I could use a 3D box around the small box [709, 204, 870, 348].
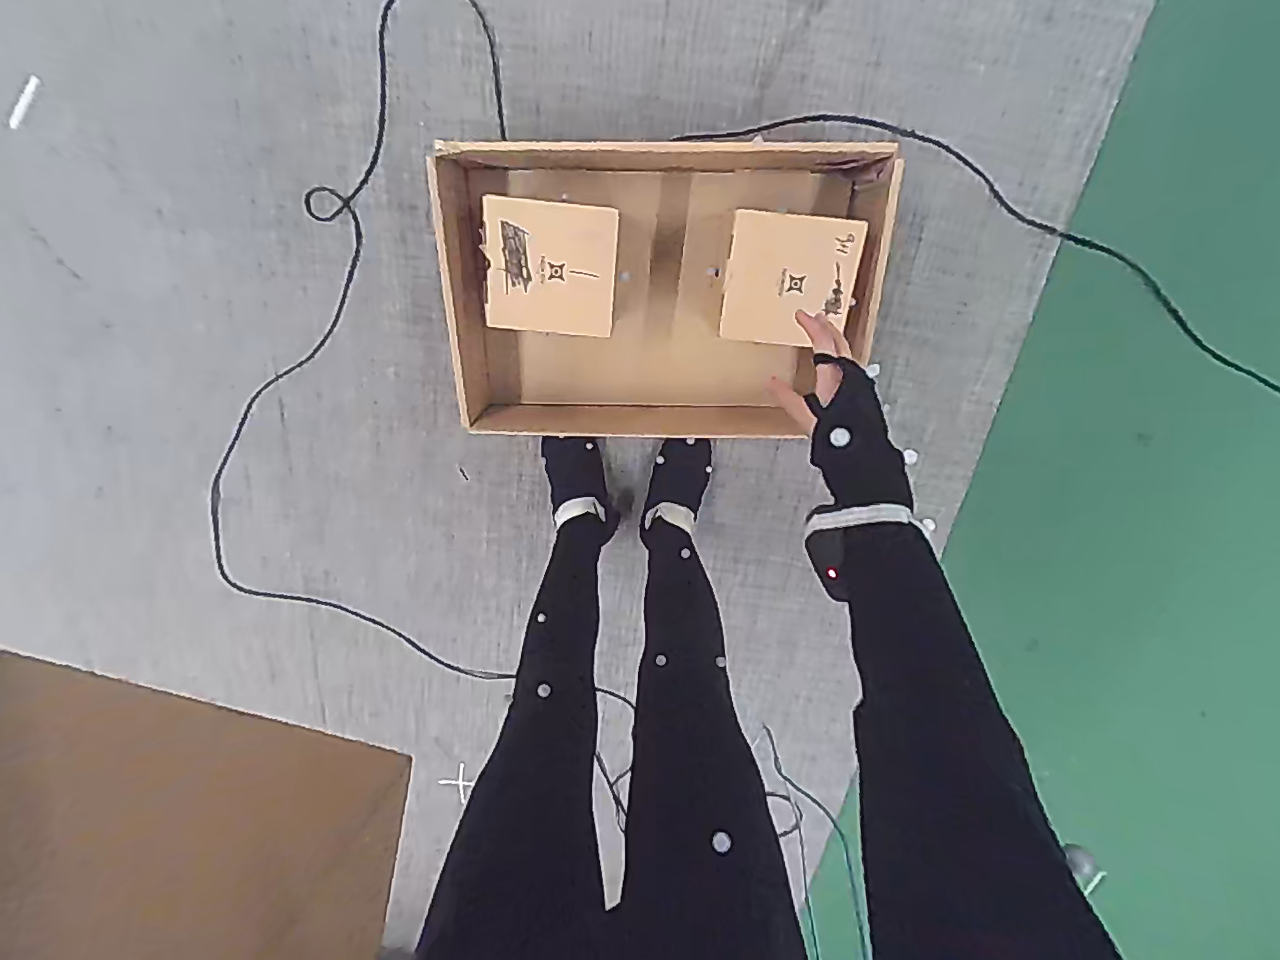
[{"bbox_3d":[0.203,-0.300,0.797,0.179,0.176,0.168,7,114,-2],"label":"small box"}]
